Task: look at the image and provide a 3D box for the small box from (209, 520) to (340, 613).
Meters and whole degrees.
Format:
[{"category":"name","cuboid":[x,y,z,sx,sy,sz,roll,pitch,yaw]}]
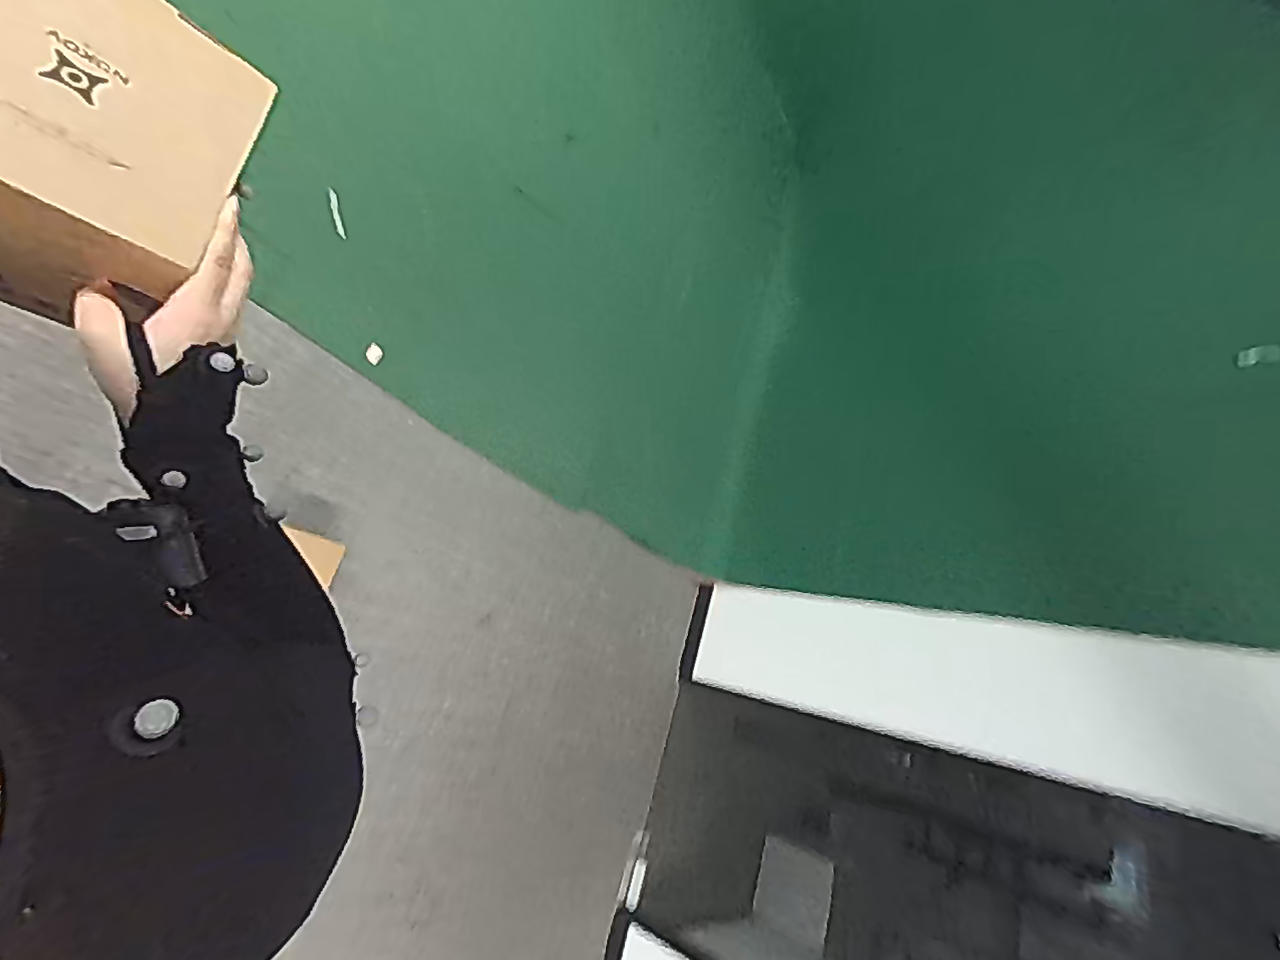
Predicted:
[{"category":"small box","cuboid":[-0.848,0.197,1.257,0.179,0.176,0.168,35,63,-44]}]
